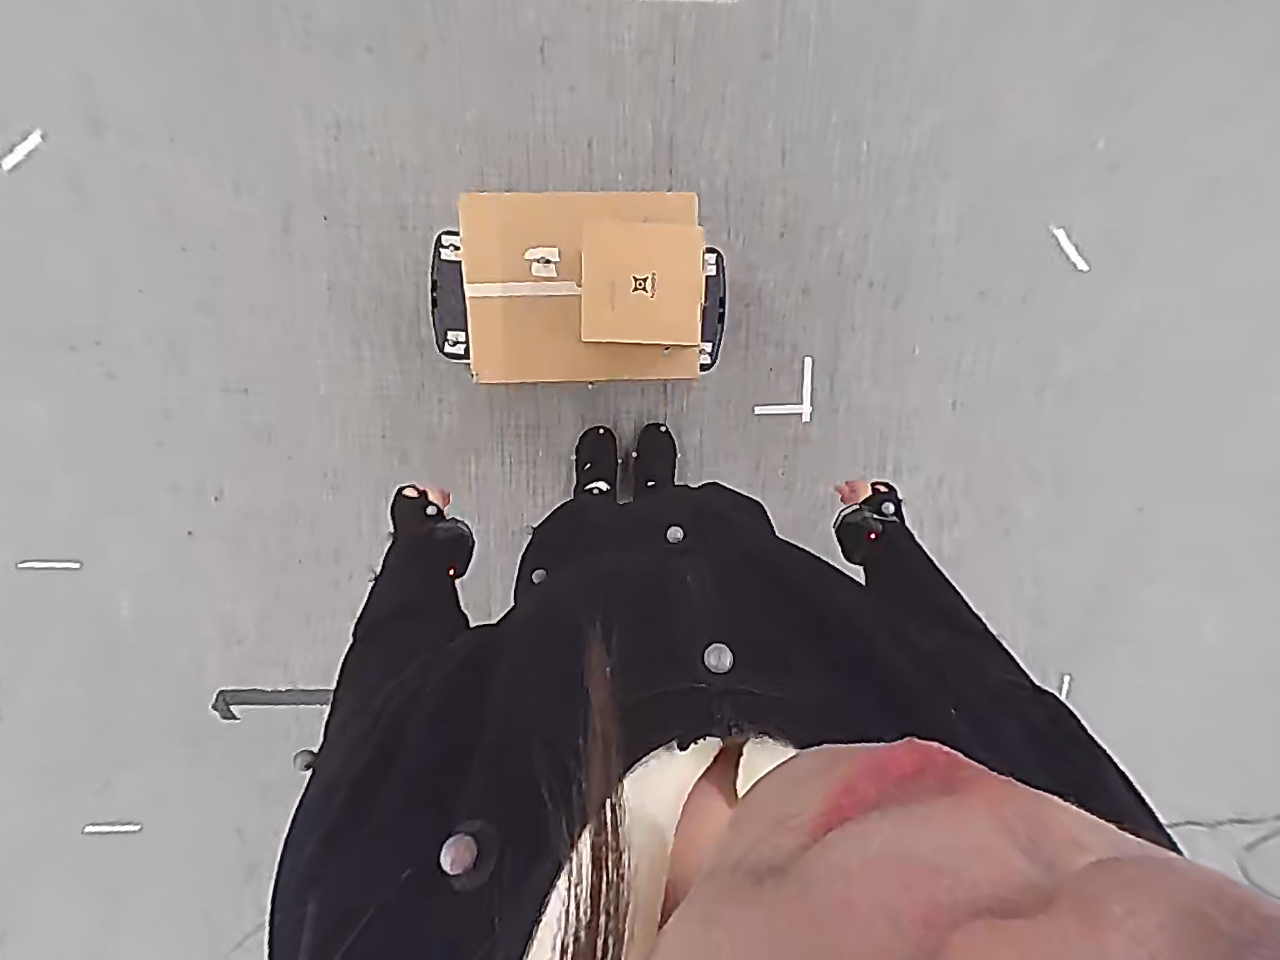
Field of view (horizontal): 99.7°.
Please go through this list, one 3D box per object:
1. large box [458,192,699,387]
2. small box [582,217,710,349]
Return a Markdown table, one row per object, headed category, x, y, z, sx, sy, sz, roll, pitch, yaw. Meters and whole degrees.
| category | x | y | z | sx | sy | sz | roll | pitch | yaw |
| --- | --- | --- | --- | --- | --- | --- | --- | --- | --- |
| large box | -0.103 | -0.351 | 1.071 | 0.408 | 0.320 | 0.320 | -2 | 100 | -2 |
| small box | 0.002 | -0.293 | 0.838 | 0.179 | 0.176 | 0.168 | 2 | 101 | -3 |
